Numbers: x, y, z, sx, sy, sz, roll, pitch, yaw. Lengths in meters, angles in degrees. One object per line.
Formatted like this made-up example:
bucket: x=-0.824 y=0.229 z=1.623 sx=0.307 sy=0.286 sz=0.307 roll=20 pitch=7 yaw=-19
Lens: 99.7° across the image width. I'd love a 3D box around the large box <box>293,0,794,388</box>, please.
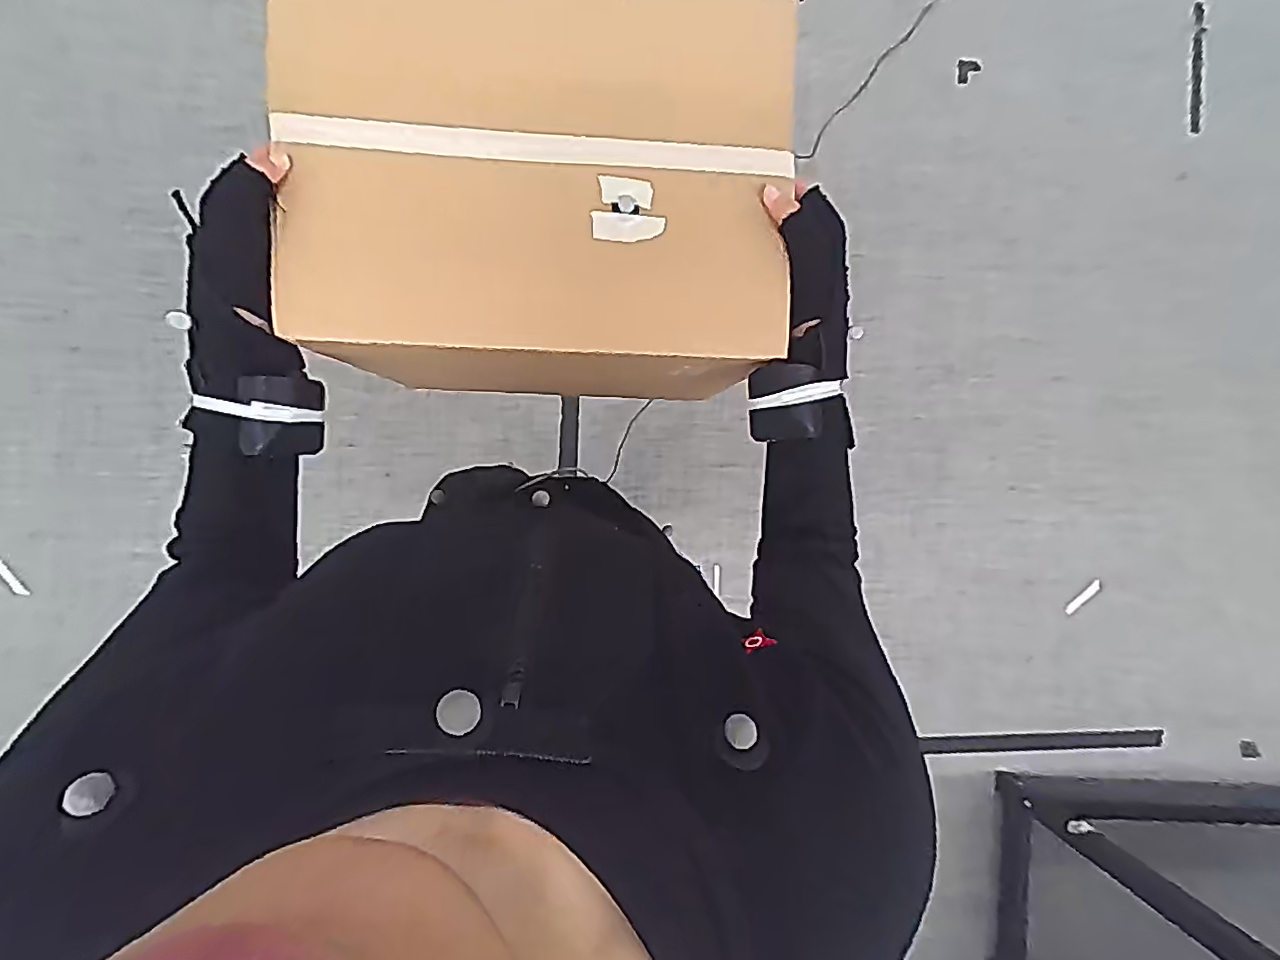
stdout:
large box: x=-0.087 y=-0.275 z=0.584 sx=0.408 sy=0.320 sz=0.320 roll=1 pitch=93 yaw=-6
